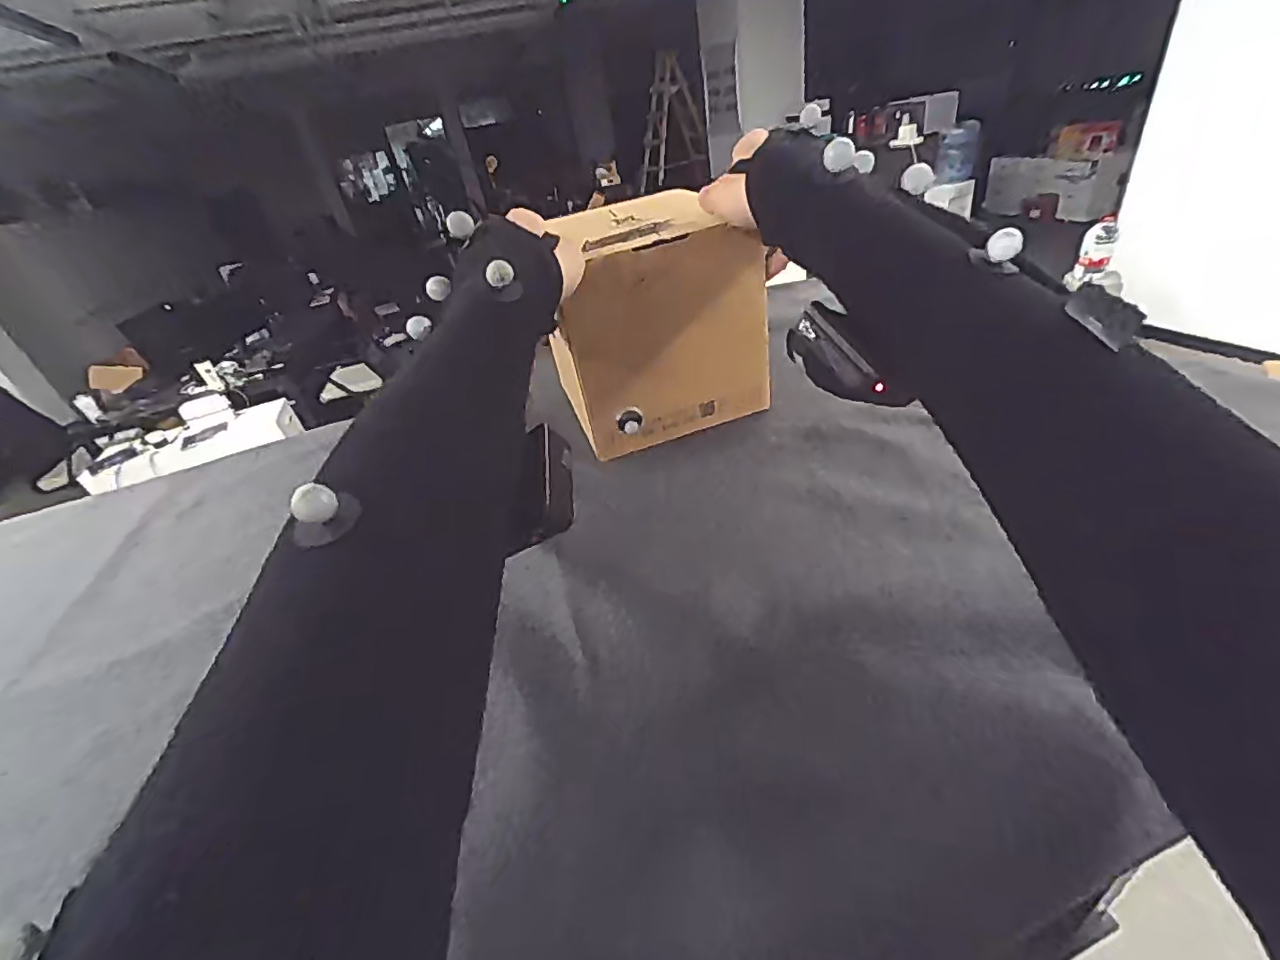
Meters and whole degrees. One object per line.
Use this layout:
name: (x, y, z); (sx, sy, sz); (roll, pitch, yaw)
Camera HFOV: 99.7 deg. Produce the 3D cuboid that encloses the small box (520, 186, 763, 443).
small box: (0.003, -0.151, 0.498); (0.168, 0.176, 0.179); (-18, 37, -8)
